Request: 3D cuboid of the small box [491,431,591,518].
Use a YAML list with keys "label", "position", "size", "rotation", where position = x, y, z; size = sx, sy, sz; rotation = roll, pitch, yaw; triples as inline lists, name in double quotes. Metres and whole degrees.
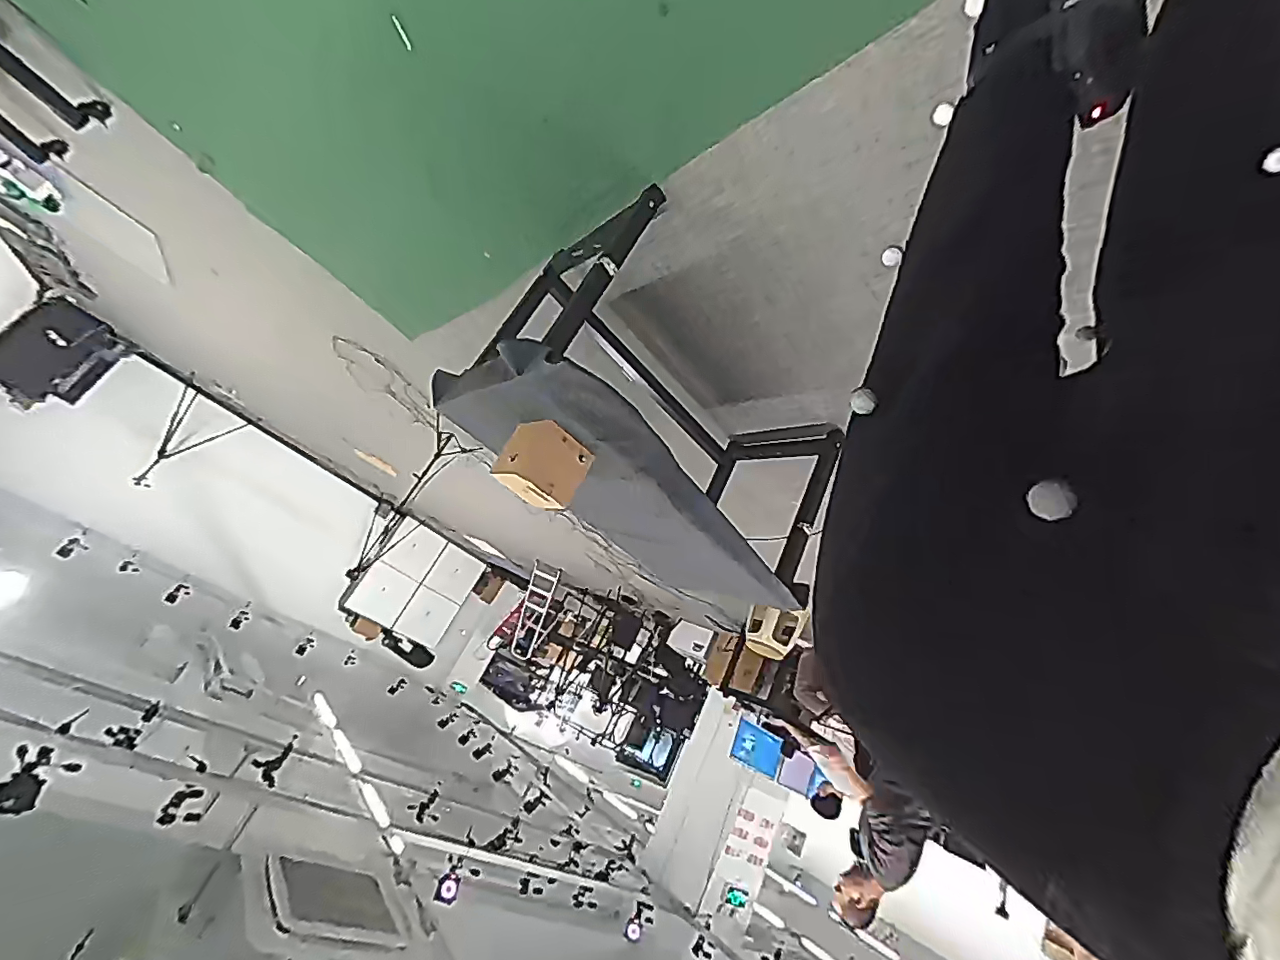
- label: "small box"
  position: [-0.254, -0.017, 1.426]
  size: [0.168, 0.176, 0.179]
  rotation: [42, 156, -31]
